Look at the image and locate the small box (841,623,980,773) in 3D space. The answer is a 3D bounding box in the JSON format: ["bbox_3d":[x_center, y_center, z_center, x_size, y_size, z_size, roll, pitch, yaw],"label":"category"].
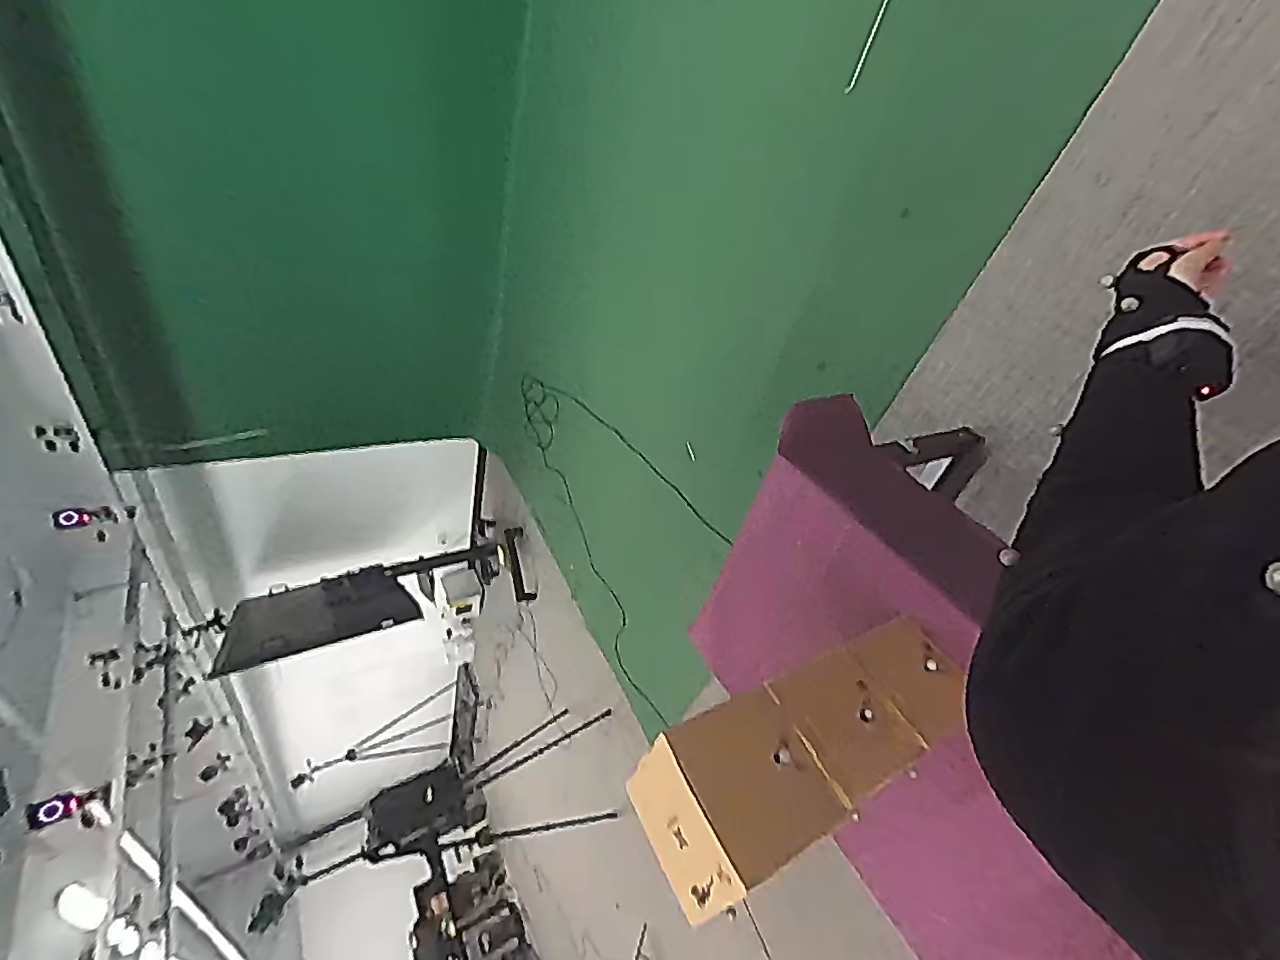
[{"bbox_3d":[0.388,0.357,0.855,0.168,0.176,0.179,52,138,35],"label":"small box"}]

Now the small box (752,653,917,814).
[{"bbox_3d":[0.250,0.380,0.770,0.168,0.176,0.179,53,138,36],"label":"small box"}]

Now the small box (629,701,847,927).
[{"bbox_3d":[0.115,0.404,0.680,0.179,0.176,0.168,55,140,35],"label":"small box"}]
